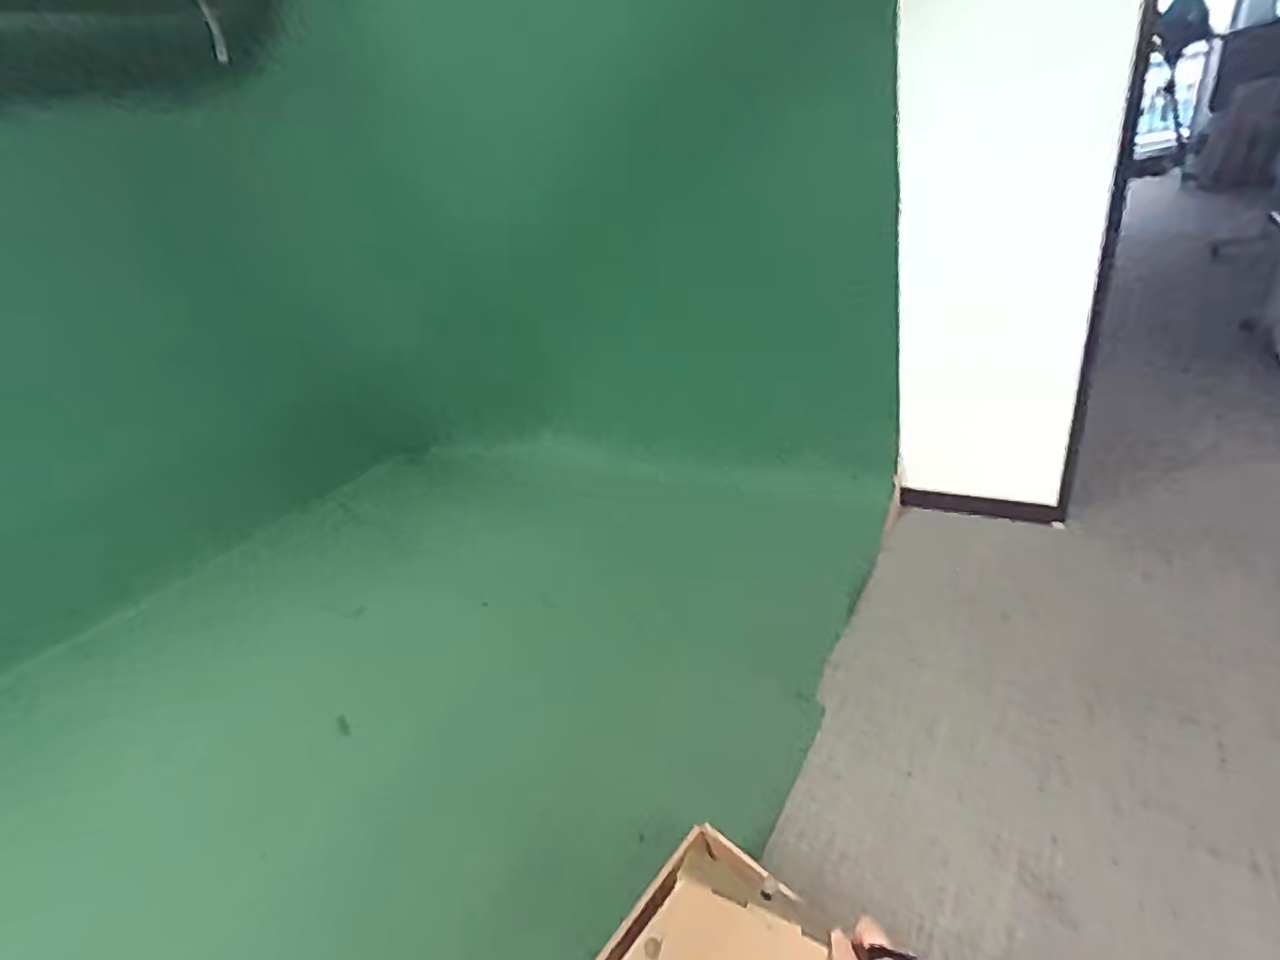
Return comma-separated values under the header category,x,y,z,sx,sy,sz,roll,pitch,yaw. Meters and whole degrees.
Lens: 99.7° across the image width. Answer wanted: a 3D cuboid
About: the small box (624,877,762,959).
category,x,y,z,sx,sy,sz,roll,pitch,yaw
small box,0.095,0.818,0.881,0.179,0.176,0.168,-35,36,-31
